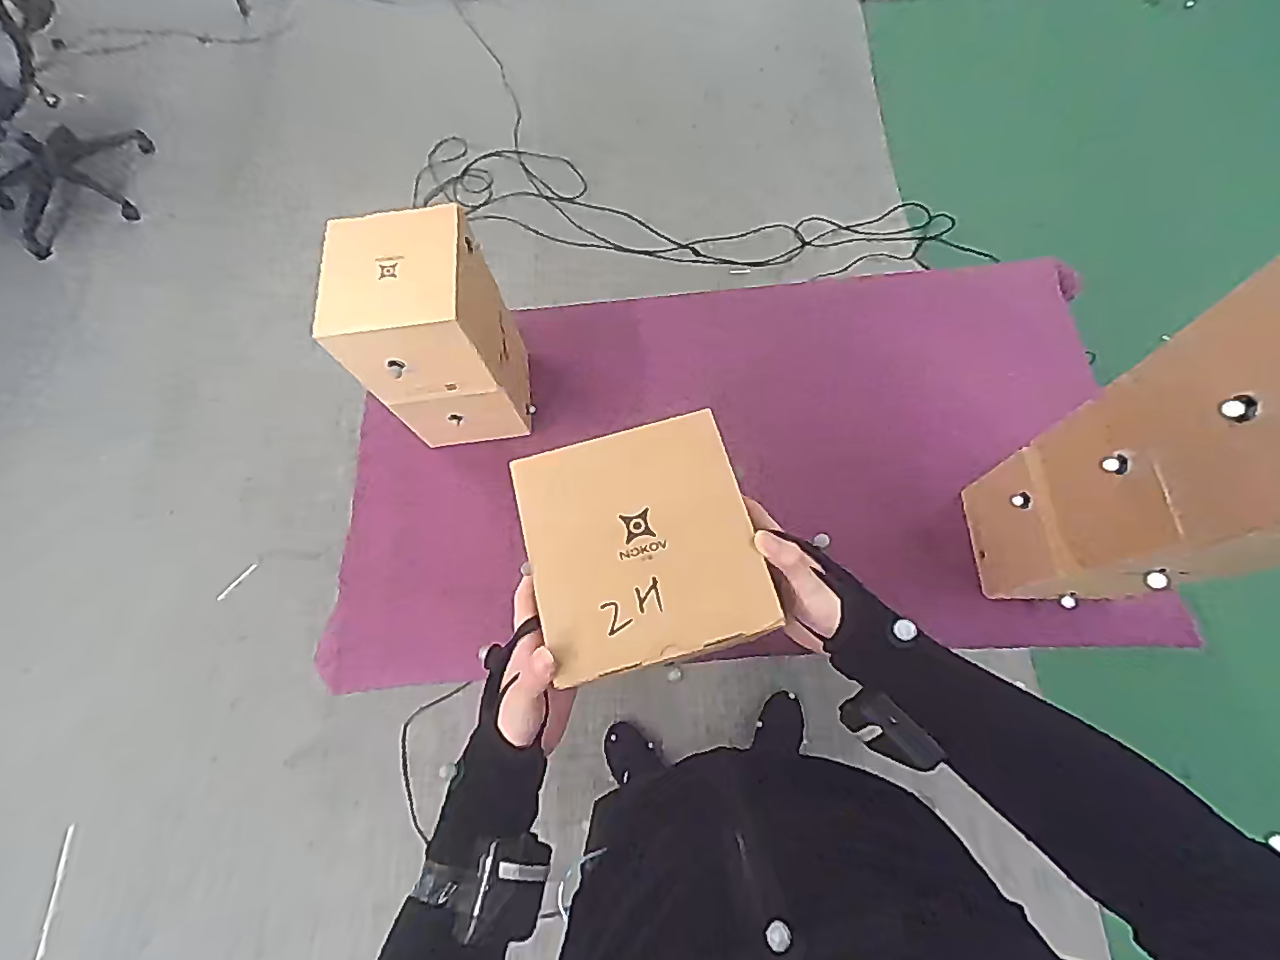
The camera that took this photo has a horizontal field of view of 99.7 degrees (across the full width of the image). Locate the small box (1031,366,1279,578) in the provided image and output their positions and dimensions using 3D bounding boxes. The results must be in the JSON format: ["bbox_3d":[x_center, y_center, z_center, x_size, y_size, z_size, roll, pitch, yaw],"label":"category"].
[{"bbox_3d":[0.556,-0.001,0.569,0.168,0.176,0.179,-1,70,6],"label":"small box"}]

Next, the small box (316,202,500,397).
[{"bbox_3d":[-0.287,-0.222,0.708,0.168,0.176,0.179,-7,69,1],"label":"small box"}]

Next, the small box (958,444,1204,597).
[{"bbox_3d":[0.565,0.060,0.720,0.179,0.176,0.168,-1,69,4],"label":"small box"}]

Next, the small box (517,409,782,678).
[{"bbox_3d":[0.004,0.067,0.476,0.168,0.176,0.179,-15,70,-2],"label":"small box"}]

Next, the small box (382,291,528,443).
[{"bbox_3d":[-0.282,-0.172,0.862,0.179,0.176,0.168,-8,70,2],"label":"small box"}]
